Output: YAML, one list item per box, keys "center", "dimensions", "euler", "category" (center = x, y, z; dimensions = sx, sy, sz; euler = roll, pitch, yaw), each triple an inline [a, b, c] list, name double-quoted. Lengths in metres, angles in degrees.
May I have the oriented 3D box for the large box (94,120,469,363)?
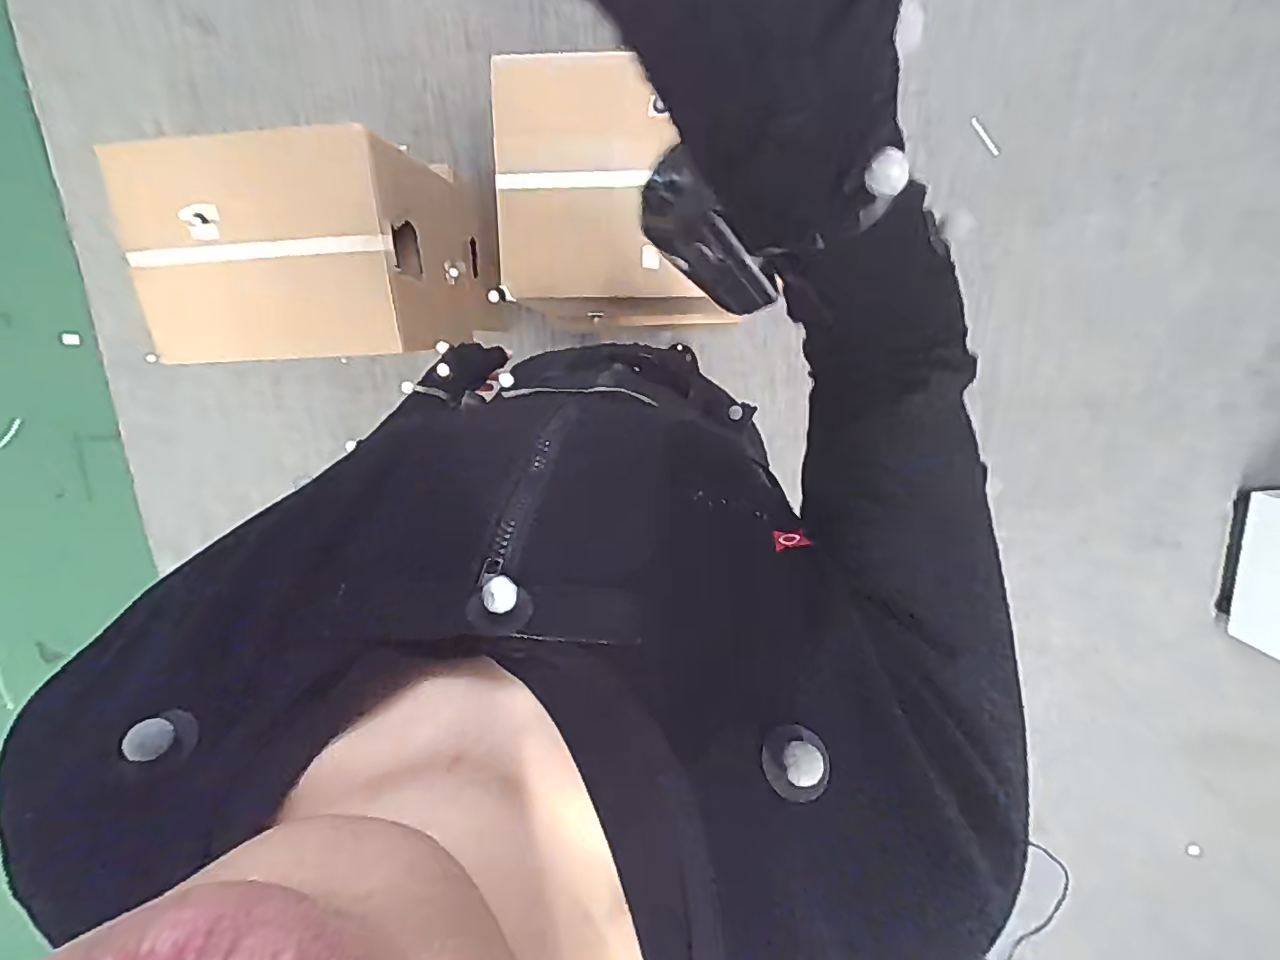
- center: [-0.562, -0.383, 0.938]
  dimensions: [0.408, 0.320, 0.320]
  euler: [-1, 106, 5]
  category: "large box"
